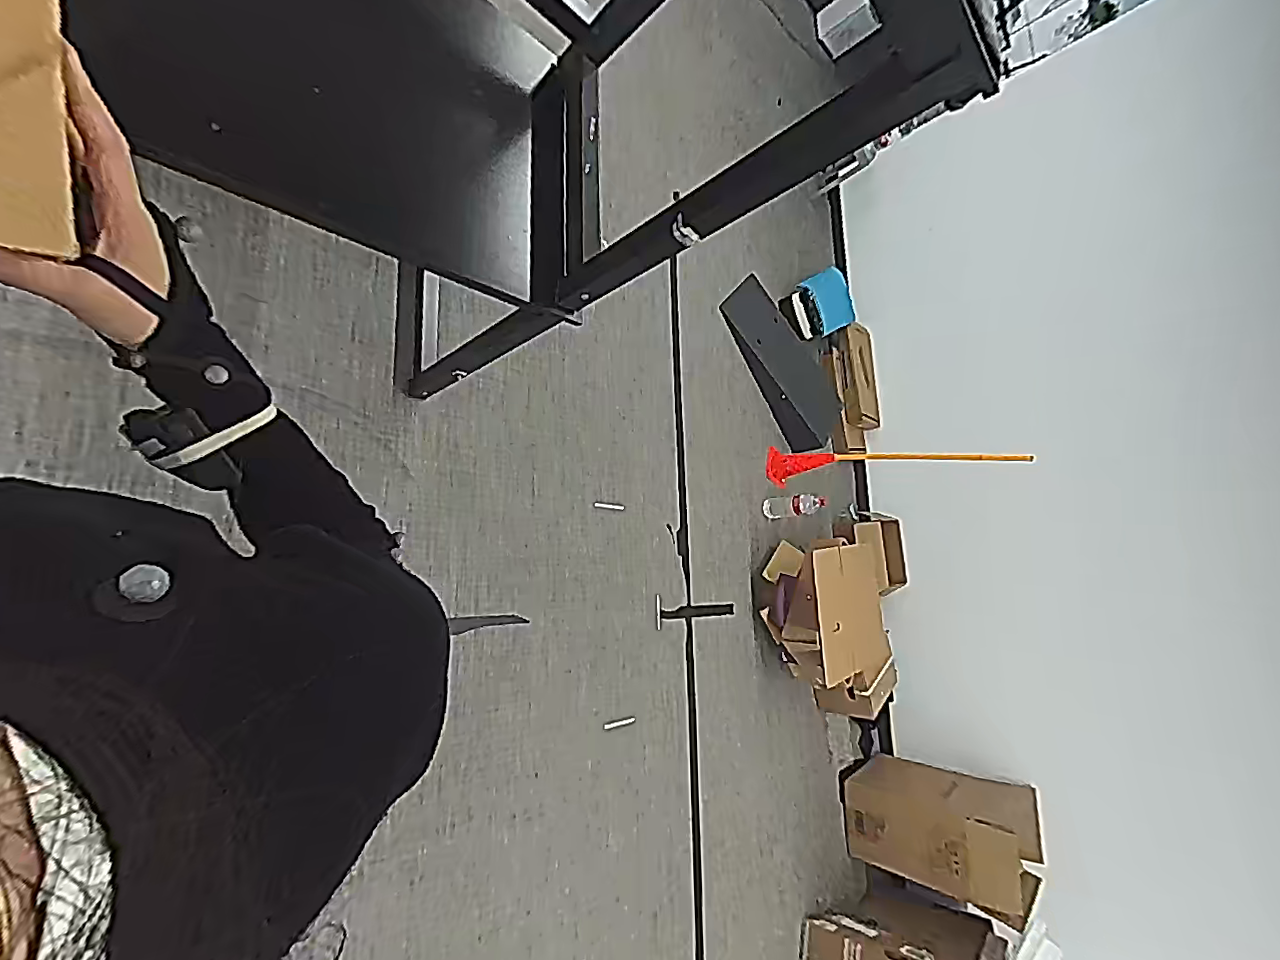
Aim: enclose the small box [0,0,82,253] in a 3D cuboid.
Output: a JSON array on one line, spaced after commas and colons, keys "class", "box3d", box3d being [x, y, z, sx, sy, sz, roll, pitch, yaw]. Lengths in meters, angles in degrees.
[{"class": "small box", "box3d": [-0.329, -0.191, 0.197, 0.168, 0.176, 0.179, -6, 108, -48]}]
